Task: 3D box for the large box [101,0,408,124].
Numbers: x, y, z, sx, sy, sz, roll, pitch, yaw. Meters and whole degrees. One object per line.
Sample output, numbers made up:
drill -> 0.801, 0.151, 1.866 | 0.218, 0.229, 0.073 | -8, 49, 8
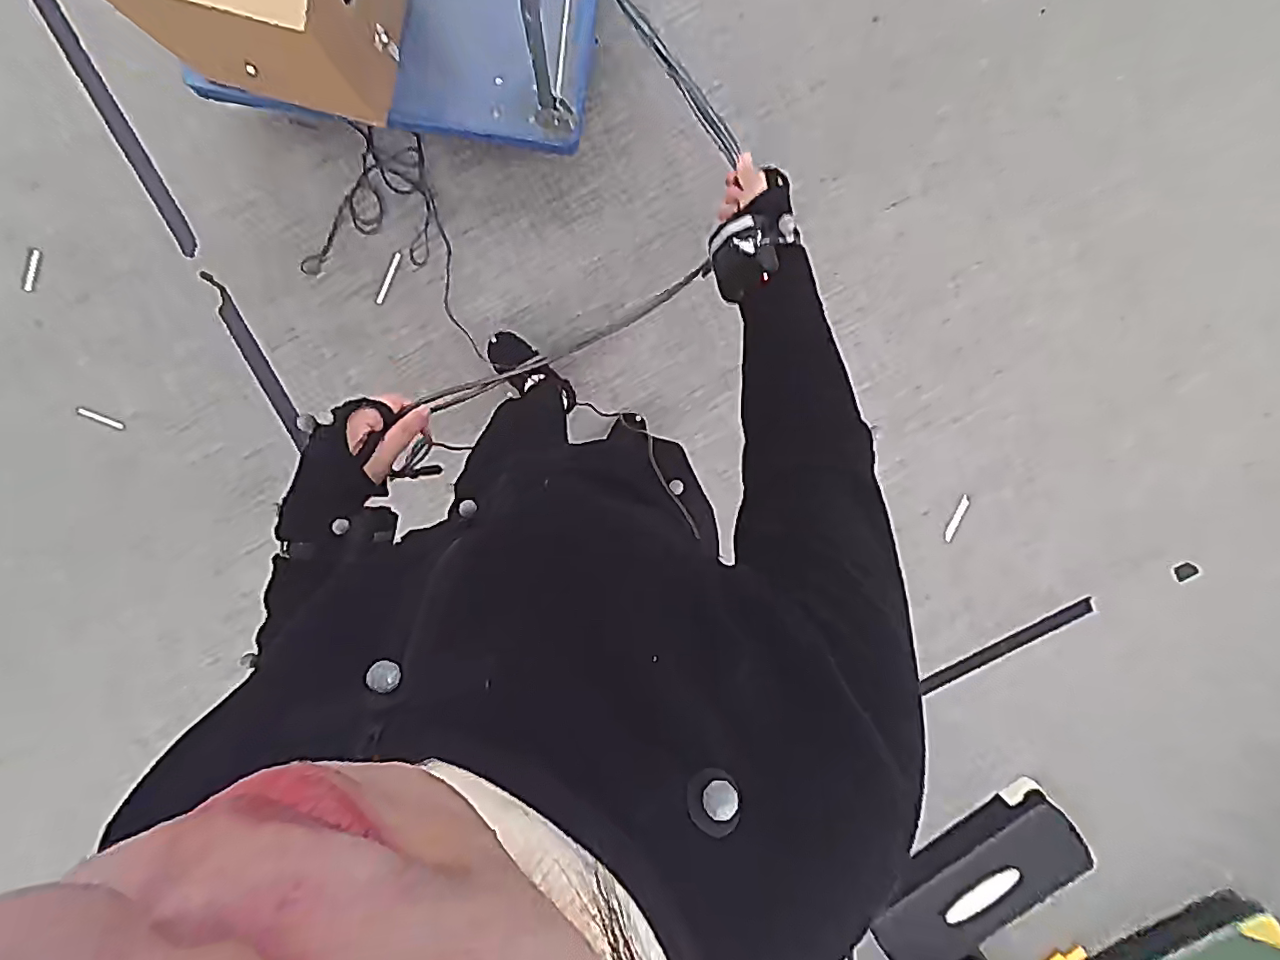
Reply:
large box -> -0.706, -0.942, 1.012 | 0.408, 0.320, 0.320 | 13, 96, -2
